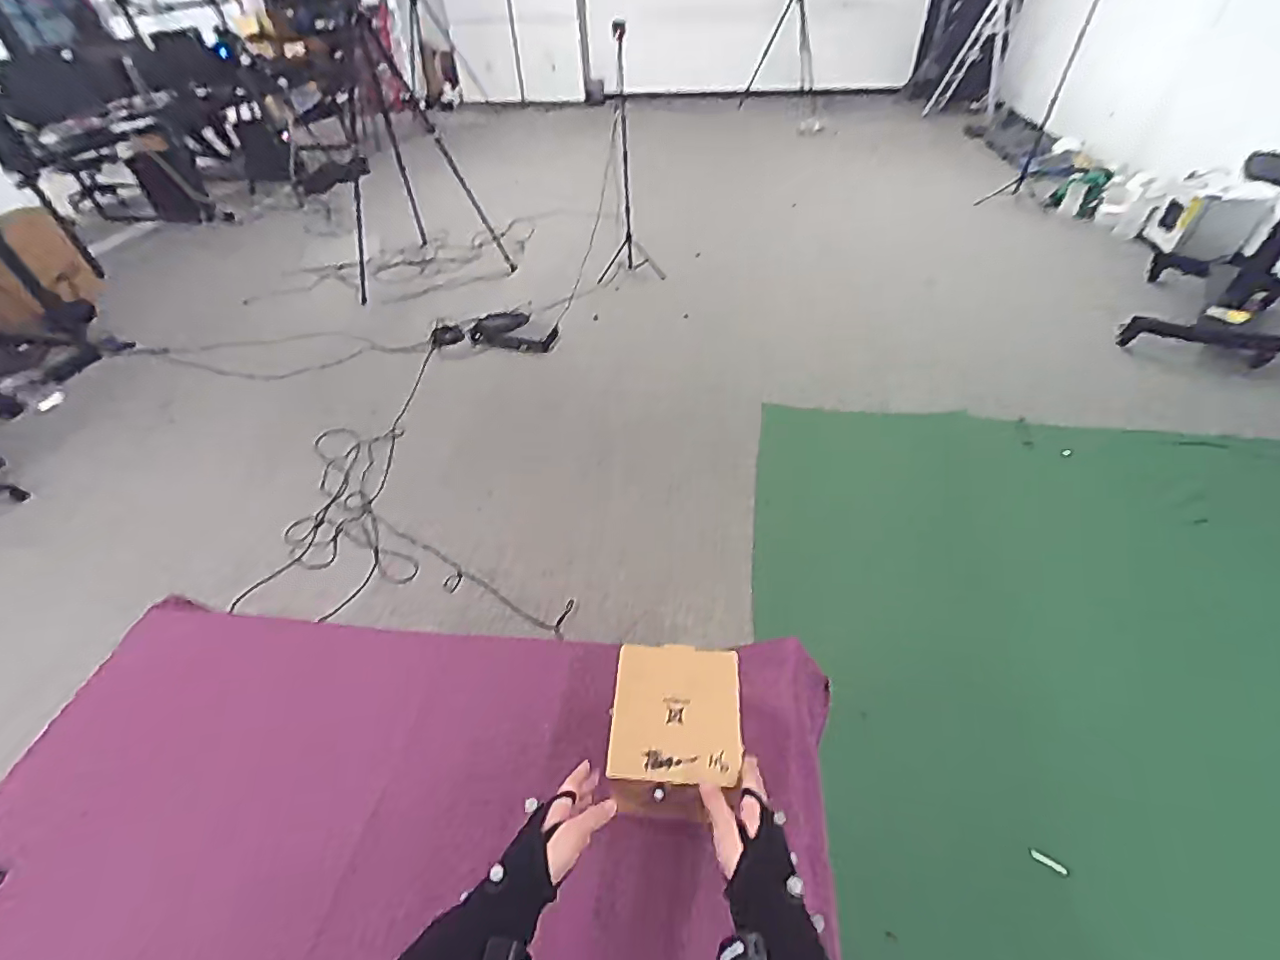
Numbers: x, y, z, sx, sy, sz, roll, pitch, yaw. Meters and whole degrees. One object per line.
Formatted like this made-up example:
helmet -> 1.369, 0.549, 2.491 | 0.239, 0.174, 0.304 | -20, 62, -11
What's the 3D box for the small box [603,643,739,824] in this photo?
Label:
small box -> 0.047, 0.352, 0.755 | 0.168, 0.176, 0.179 | 2, 44, 6
